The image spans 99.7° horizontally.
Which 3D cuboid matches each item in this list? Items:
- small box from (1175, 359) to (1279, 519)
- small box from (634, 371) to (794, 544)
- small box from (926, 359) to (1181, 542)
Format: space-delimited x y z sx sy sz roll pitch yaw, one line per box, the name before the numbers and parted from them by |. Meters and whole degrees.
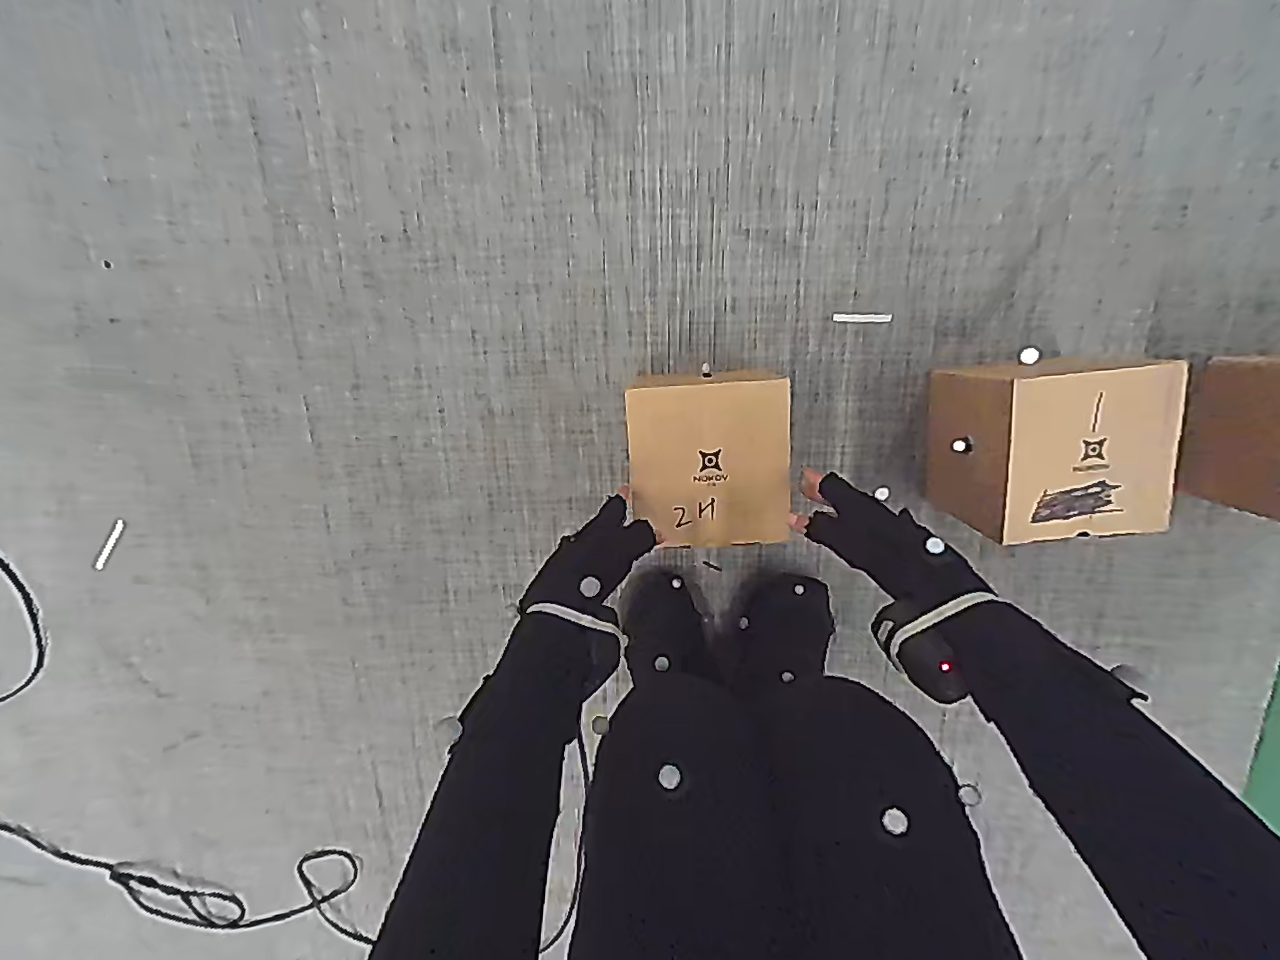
small box | 0.779 -0.048 0.616 0.168 0.176 0.179 0 105 3
small box | 0.080 -0.036 0.641 0.168 0.176 0.179 -2 105 4
small box | 0.455 -0.043 0.627 0.168 0.176 0.179 -5 104 3
